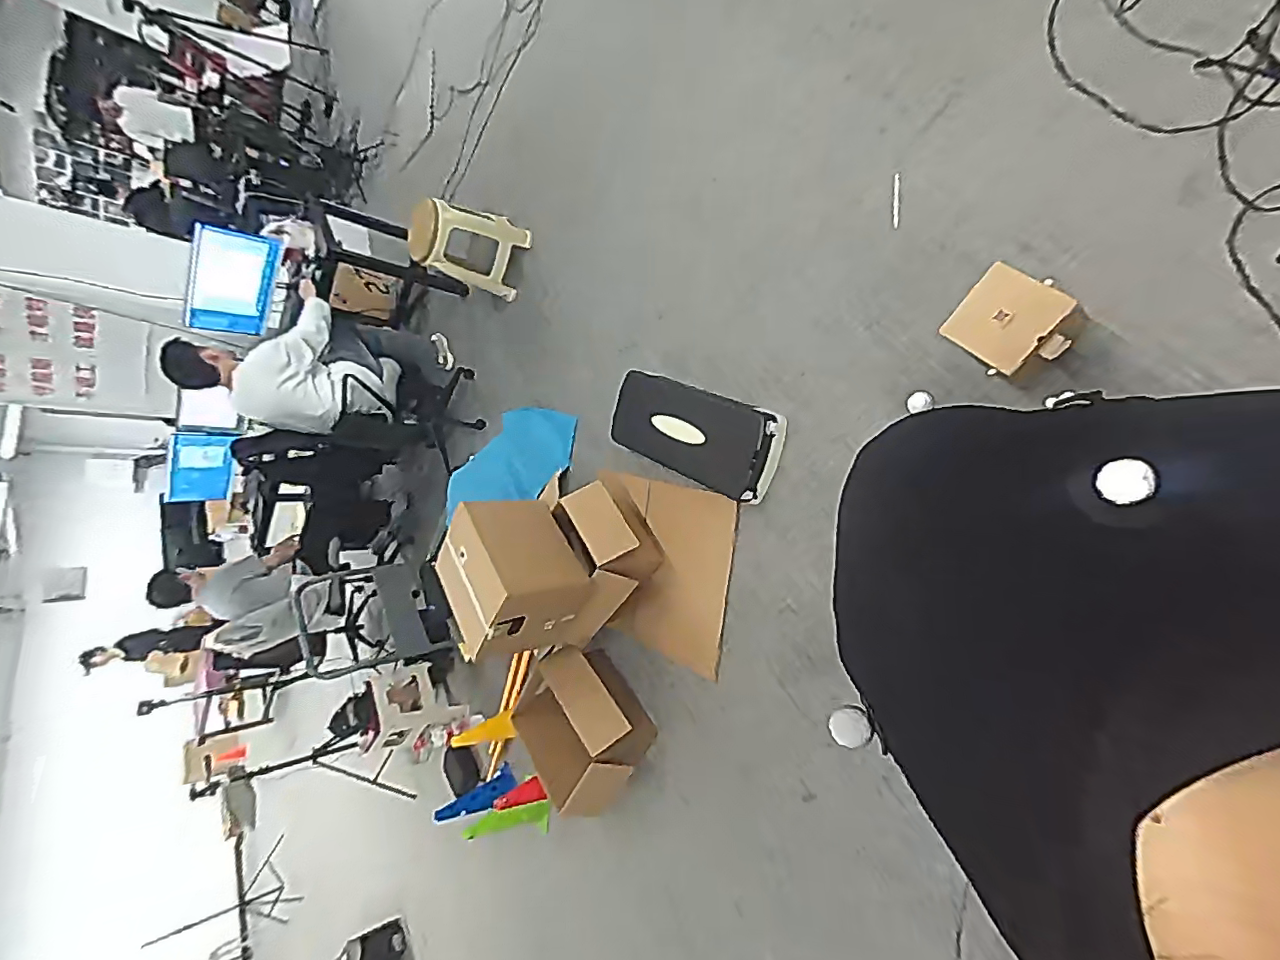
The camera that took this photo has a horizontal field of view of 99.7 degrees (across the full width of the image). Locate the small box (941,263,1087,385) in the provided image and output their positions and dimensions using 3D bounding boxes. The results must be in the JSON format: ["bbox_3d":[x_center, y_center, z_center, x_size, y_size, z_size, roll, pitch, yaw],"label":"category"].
[{"bbox_3d":[0.777,-0.316,1.124,0.179,0.176,0.168,51,122,33],"label":"small box"}]
